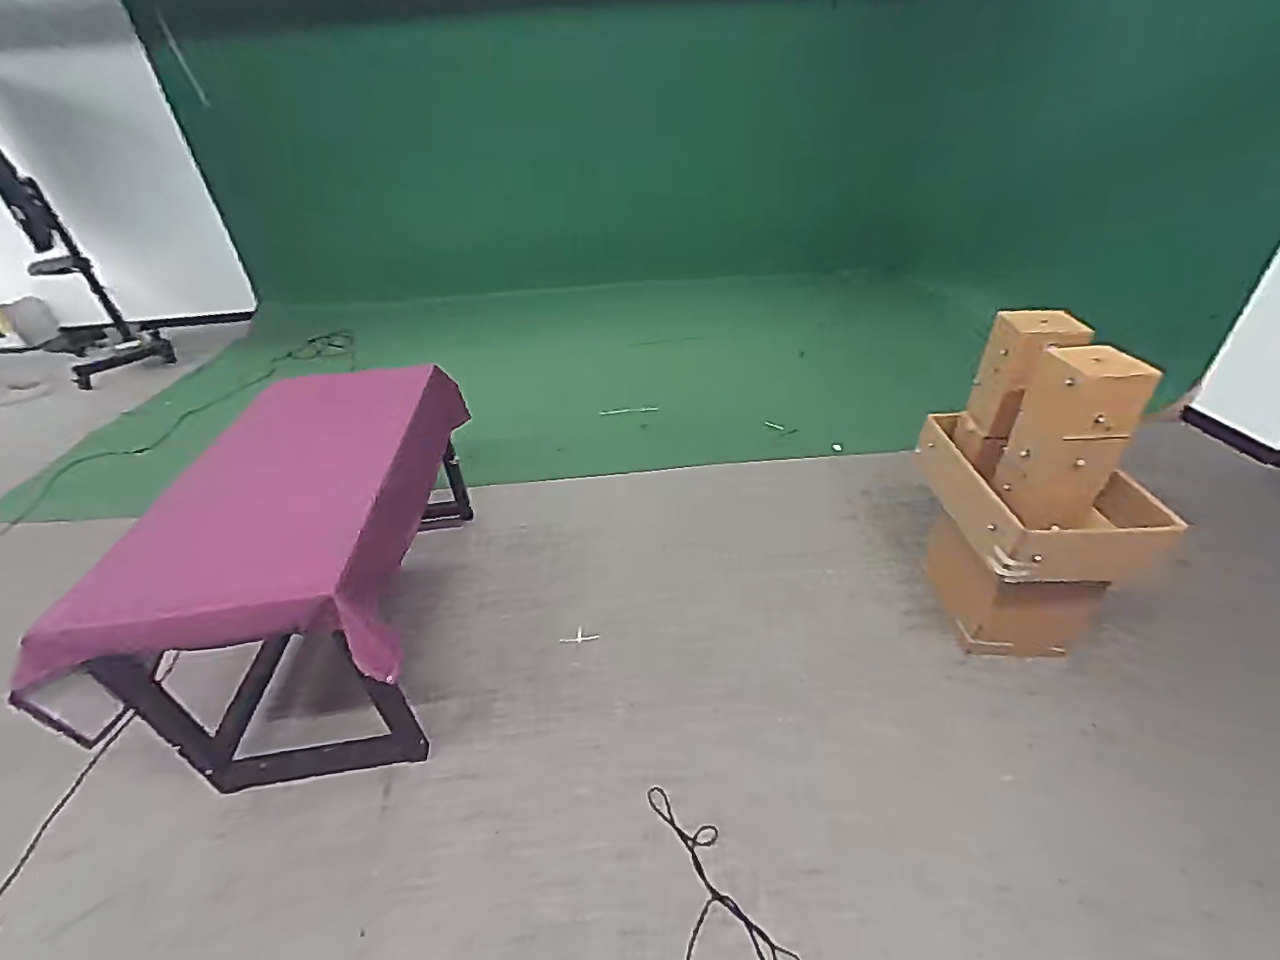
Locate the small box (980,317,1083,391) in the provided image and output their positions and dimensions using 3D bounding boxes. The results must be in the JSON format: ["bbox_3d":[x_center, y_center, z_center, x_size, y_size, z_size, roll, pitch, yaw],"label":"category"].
[{"bbox_3d":[1.119,-0.363,1.568,0.179,0.176,0.168,2,37,6],"label":"small box"}]

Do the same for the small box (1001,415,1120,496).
[{"bbox_3d":[1.100,-0.069,1.437,0.179,0.176,0.168,-4,35,1],"label":"small box"}]

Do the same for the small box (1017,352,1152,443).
[{"bbox_3d":[1.091,-0.206,1.349,0.168,0.176,0.179,-3,35,0],"label":"small box"}]
